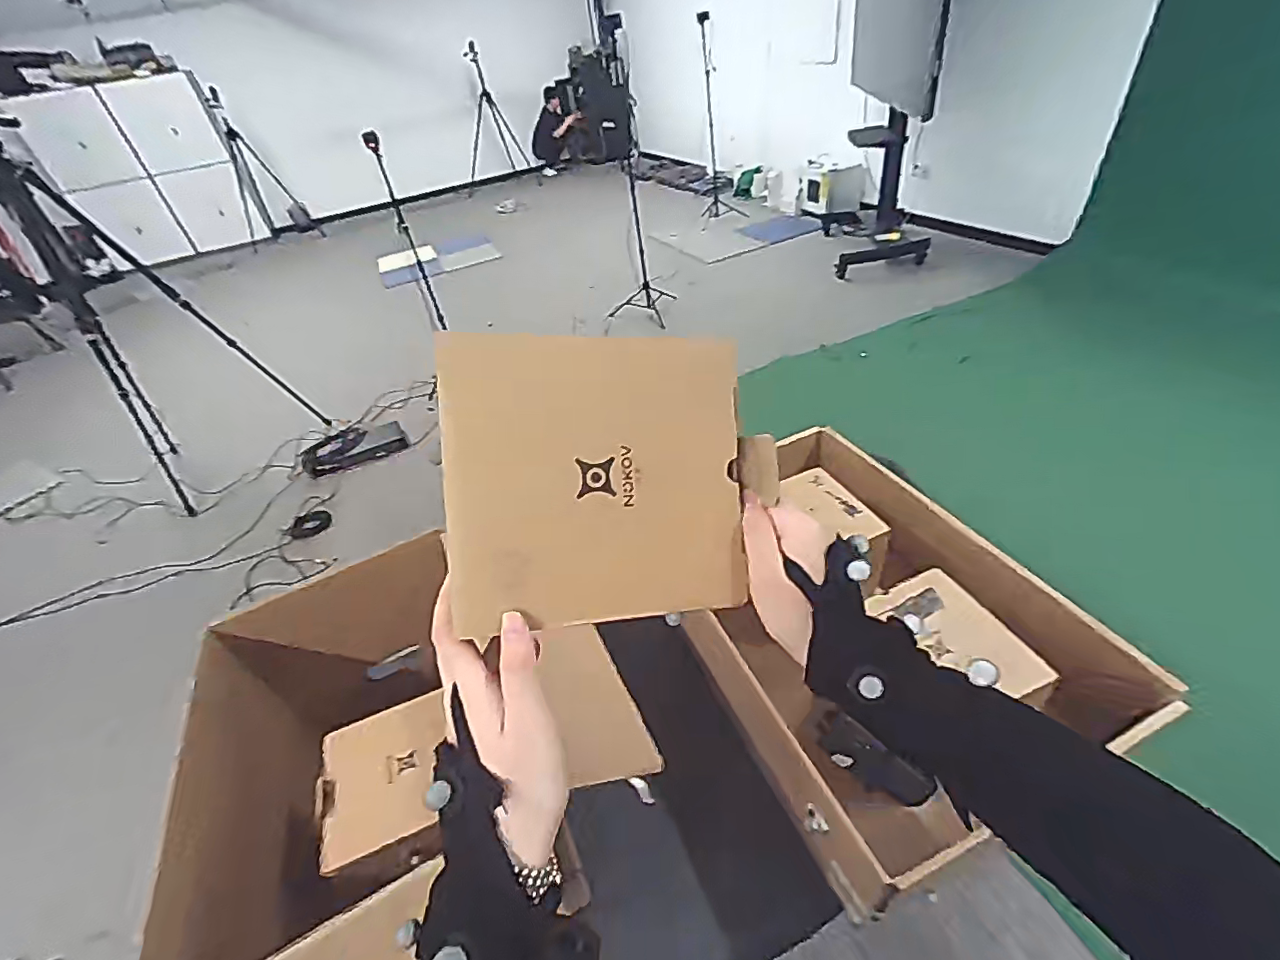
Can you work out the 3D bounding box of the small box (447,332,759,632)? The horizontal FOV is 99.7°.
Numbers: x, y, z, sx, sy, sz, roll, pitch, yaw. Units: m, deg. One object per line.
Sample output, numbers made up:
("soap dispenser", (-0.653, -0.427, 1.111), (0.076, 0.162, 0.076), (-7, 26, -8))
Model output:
("small box", (-0.035, -0.001, 0.388), (0.179, 0.168, 0.176), (-4, 1, -16))
